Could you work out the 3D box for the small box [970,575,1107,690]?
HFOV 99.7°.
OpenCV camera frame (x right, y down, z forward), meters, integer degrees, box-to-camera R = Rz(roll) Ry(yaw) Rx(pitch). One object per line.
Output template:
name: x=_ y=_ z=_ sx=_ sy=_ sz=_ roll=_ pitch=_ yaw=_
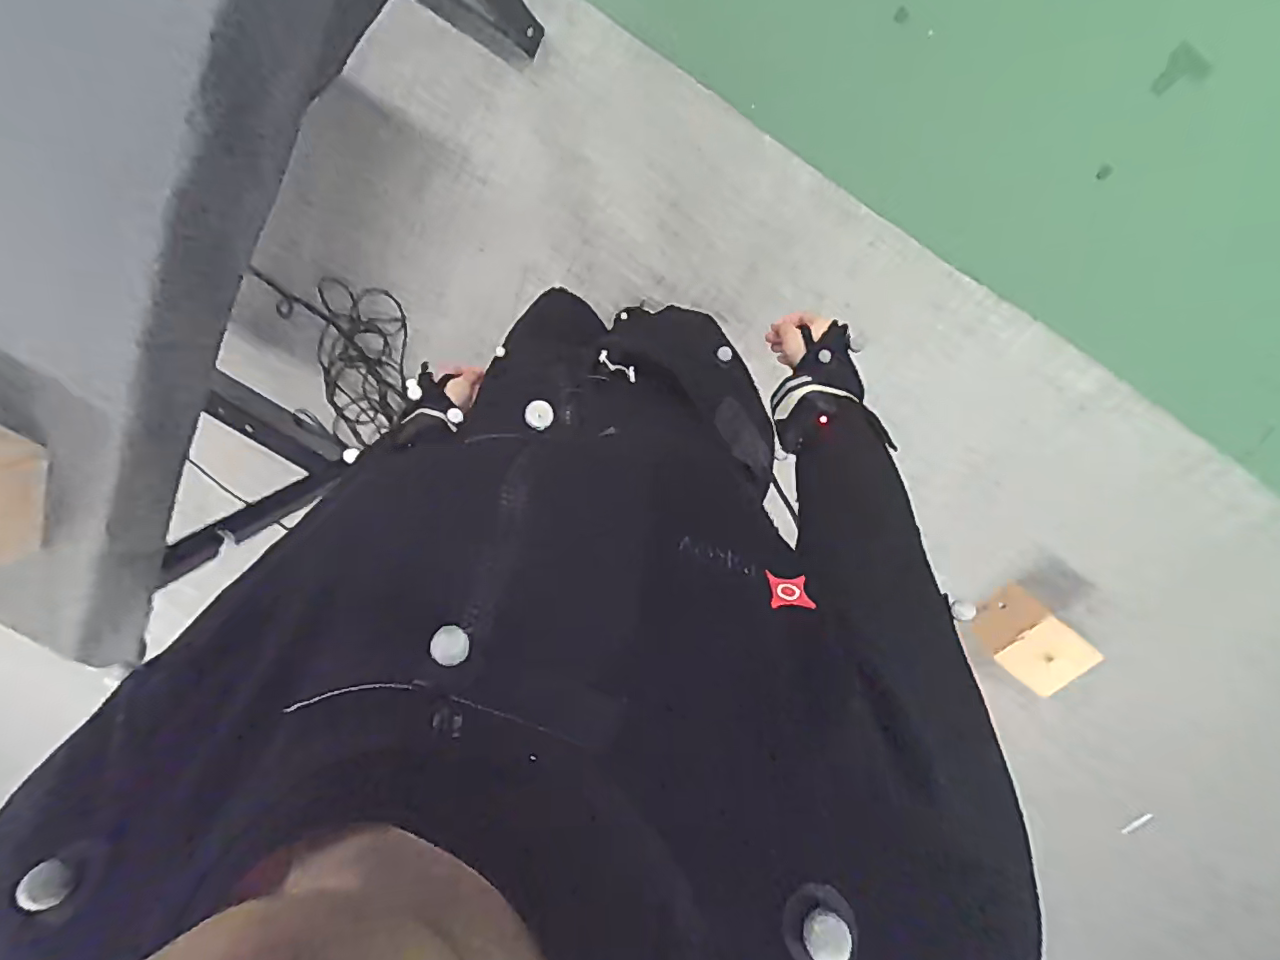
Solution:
small box: x=0.965 y=0.367 z=1.328 sx=0.179 sy=0.176 sz=0.168 roll=36 pitch=111 yaw=-6
